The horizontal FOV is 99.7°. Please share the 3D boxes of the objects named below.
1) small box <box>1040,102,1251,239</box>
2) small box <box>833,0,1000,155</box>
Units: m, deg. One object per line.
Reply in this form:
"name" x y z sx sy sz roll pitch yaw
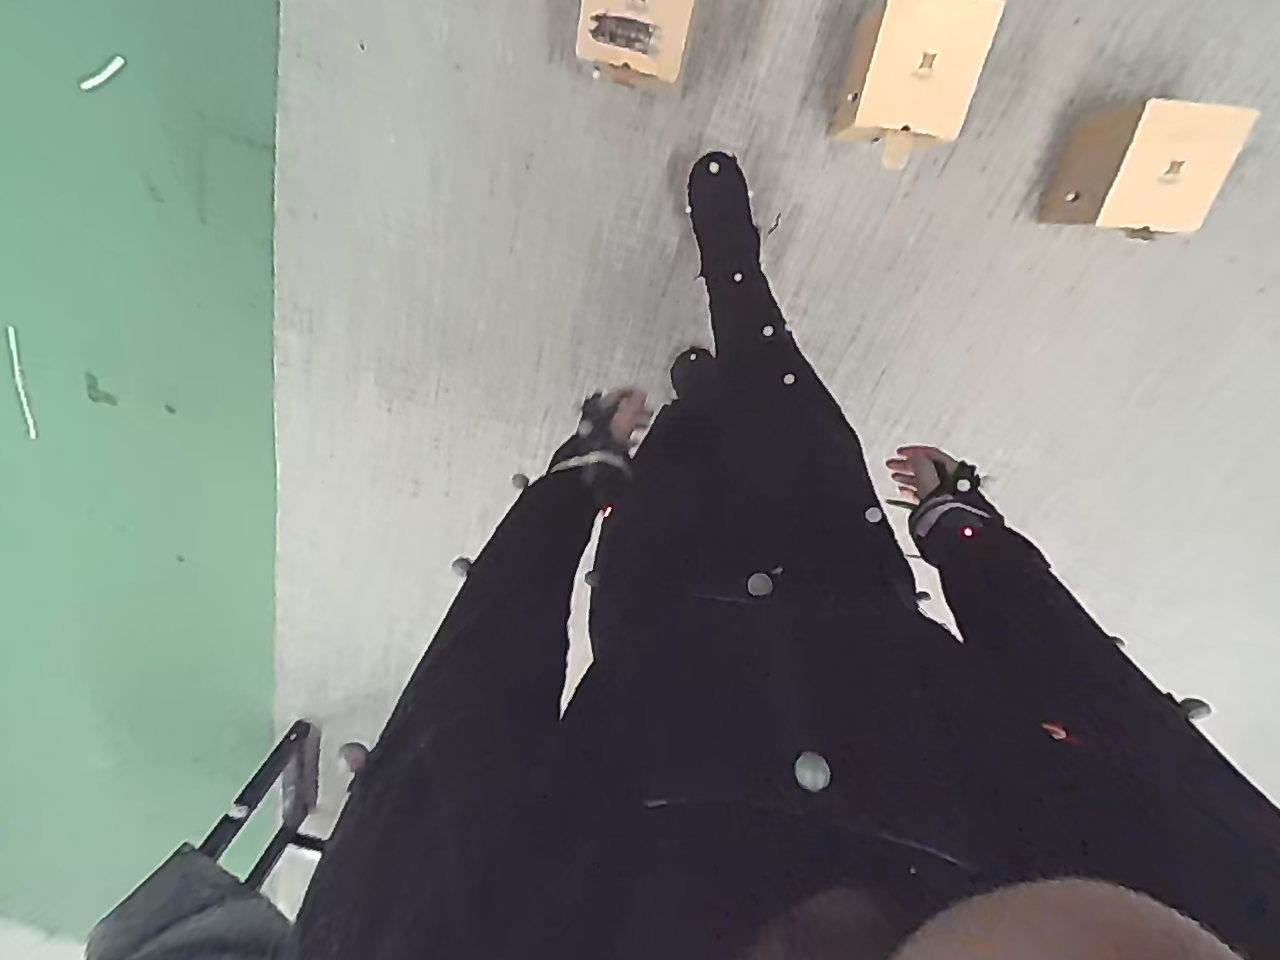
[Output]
"small box" 0.828 -0.512 0.913 0.168 0.176 0.179 6 115 1
"small box" 0.432 -0.651 0.882 0.168 0.176 0.179 9 117 1
